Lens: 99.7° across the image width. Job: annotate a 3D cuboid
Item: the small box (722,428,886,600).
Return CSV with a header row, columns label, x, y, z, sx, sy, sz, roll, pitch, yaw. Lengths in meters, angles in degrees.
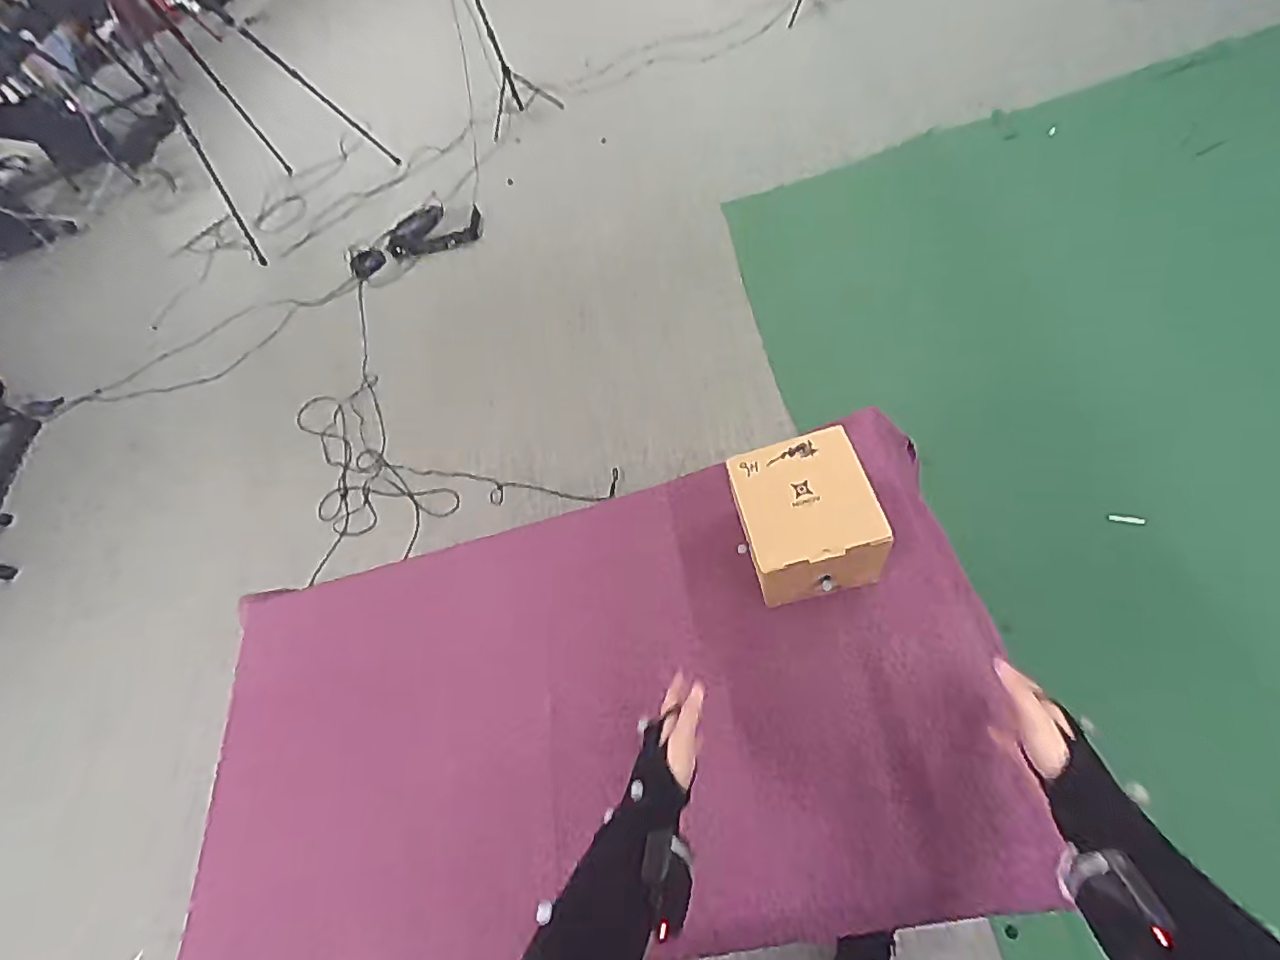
label,x,y,z,sx,sy,sz,roll,pitch,yaw
small box,0.227,0.059,0.769,0.168,0.176,0.179,-17,59,8
